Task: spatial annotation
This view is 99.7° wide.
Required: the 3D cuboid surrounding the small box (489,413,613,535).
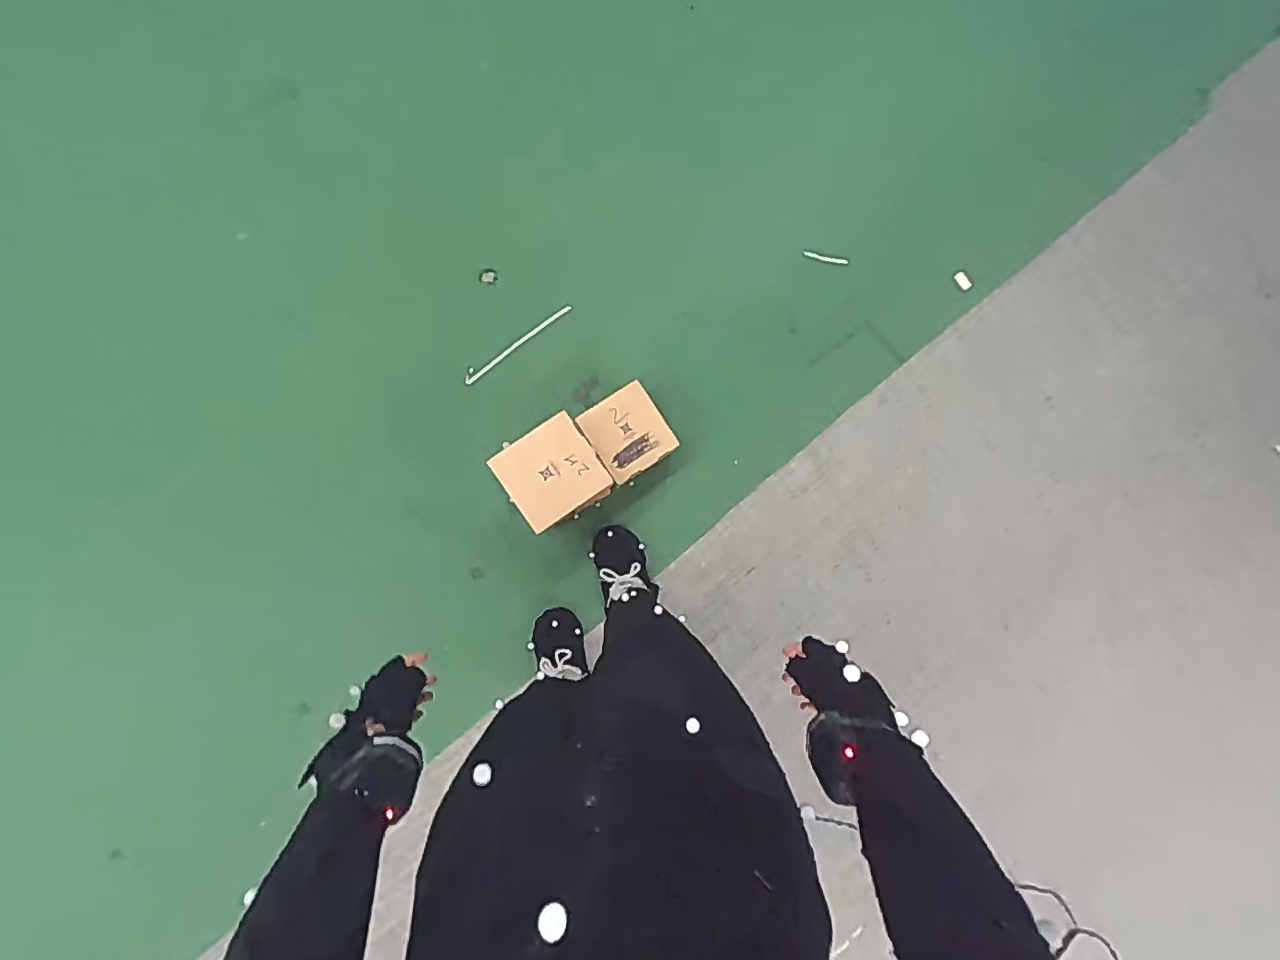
[{"bbox_3d":[-0.169,-0.006,1.076,0.179,0.176,0.168,-35,90,-6],"label":"small box"}]
